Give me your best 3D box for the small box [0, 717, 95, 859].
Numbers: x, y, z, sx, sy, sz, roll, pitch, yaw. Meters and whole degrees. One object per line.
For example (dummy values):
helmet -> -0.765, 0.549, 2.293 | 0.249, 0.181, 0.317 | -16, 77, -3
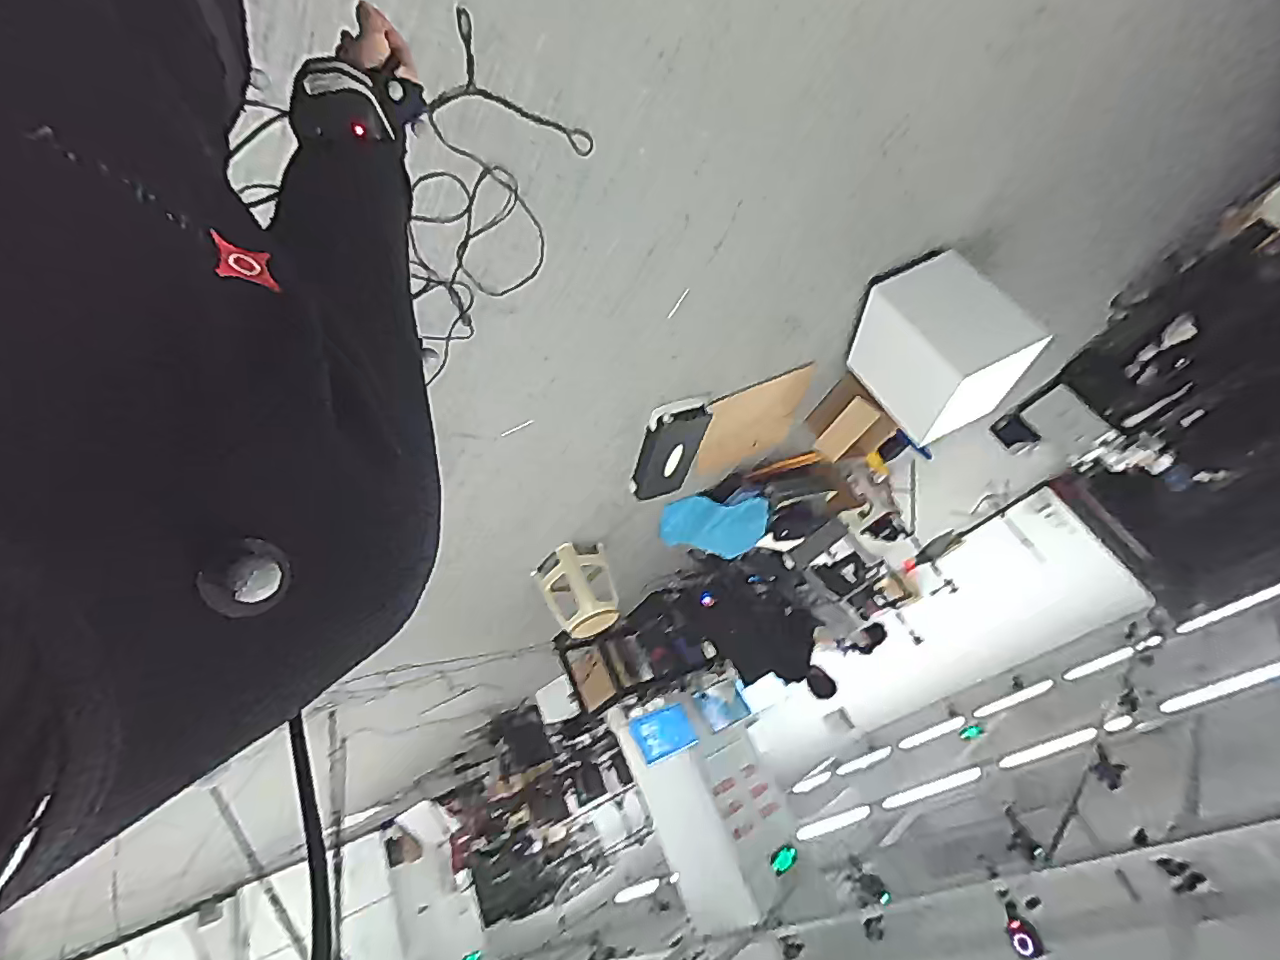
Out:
small box -> -1.104, 0.552, 0.961 | 0.179, 0.176, 0.168 | 5, 138, -49
